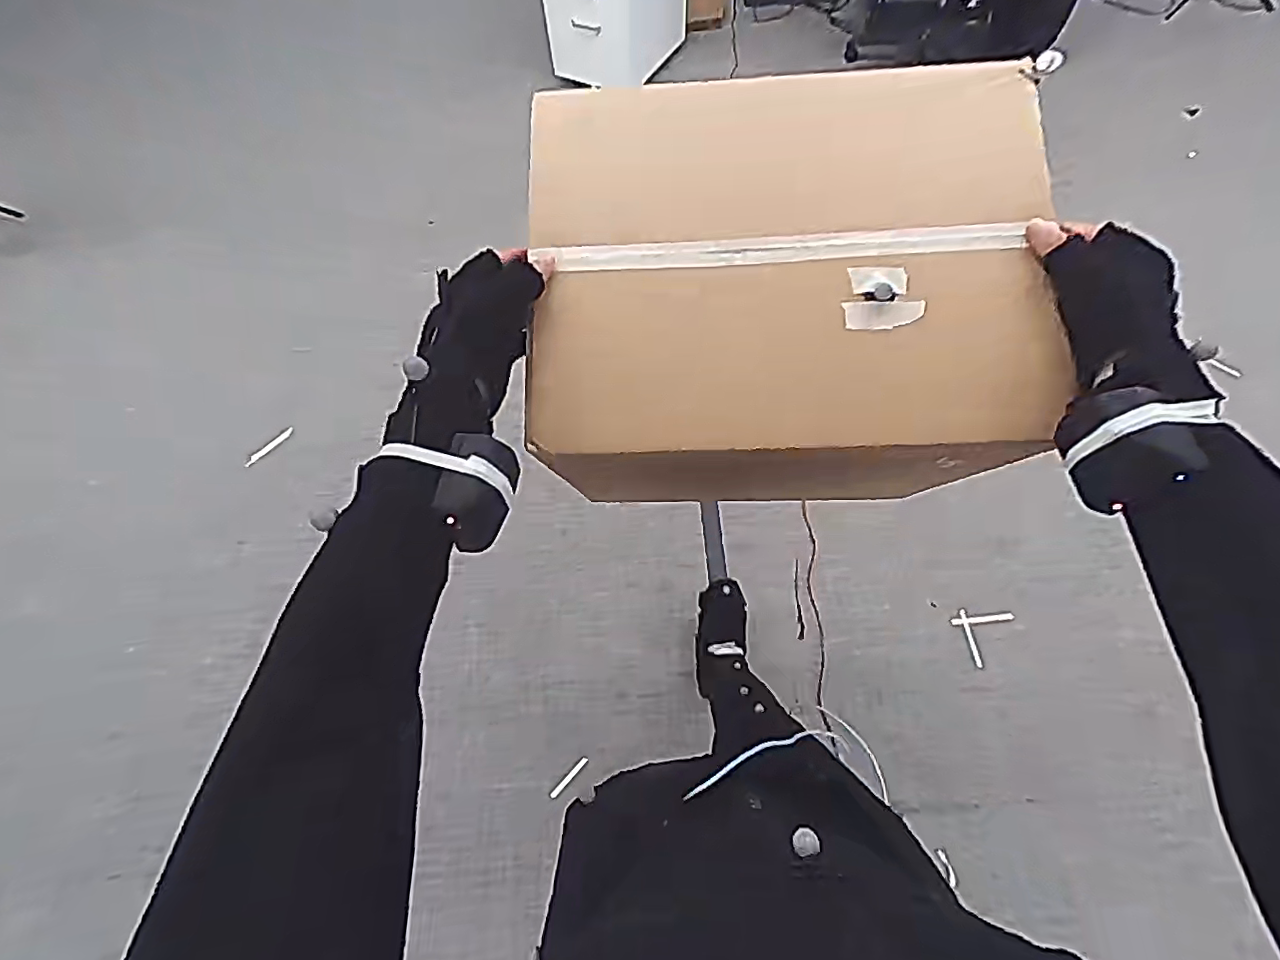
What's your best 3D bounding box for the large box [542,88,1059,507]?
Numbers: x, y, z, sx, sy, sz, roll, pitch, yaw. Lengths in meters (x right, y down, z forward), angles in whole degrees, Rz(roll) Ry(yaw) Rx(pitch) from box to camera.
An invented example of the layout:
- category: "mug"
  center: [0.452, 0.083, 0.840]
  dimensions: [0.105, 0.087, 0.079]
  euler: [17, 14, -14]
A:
- category: "large box"
  center: [0.123, -0.150, 0.591]
  dimensions: [0.408, 0.320, 0.320]
  euler: [-2, 80, 3]
